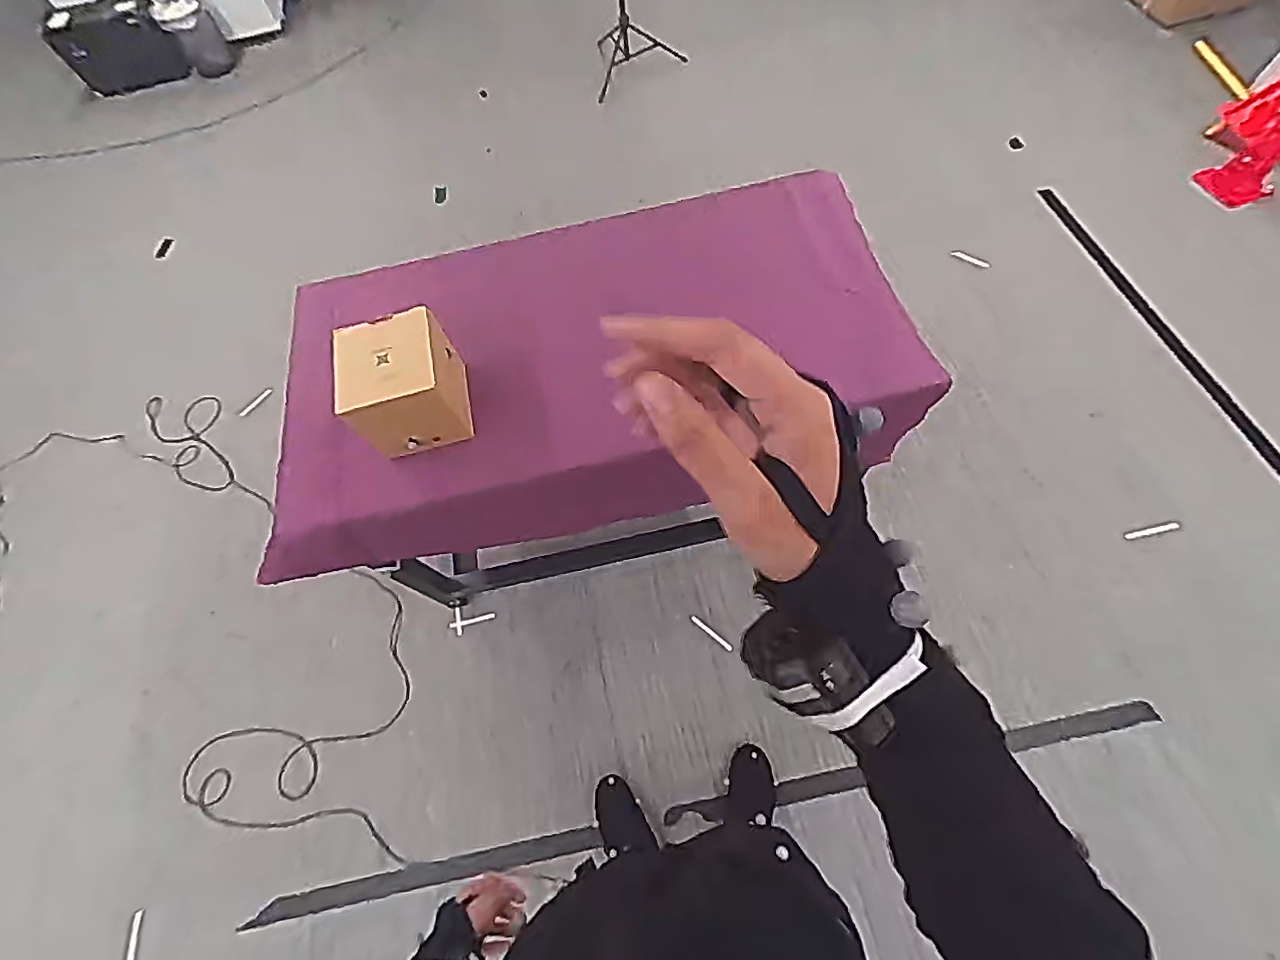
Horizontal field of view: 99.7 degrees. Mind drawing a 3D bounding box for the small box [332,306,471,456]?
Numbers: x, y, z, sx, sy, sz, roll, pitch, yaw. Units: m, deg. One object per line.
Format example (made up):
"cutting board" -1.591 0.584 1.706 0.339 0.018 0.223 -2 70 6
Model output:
"small box" -0.411 -0.169 0.953 0.168 0.176 0.179 -15 65 0
